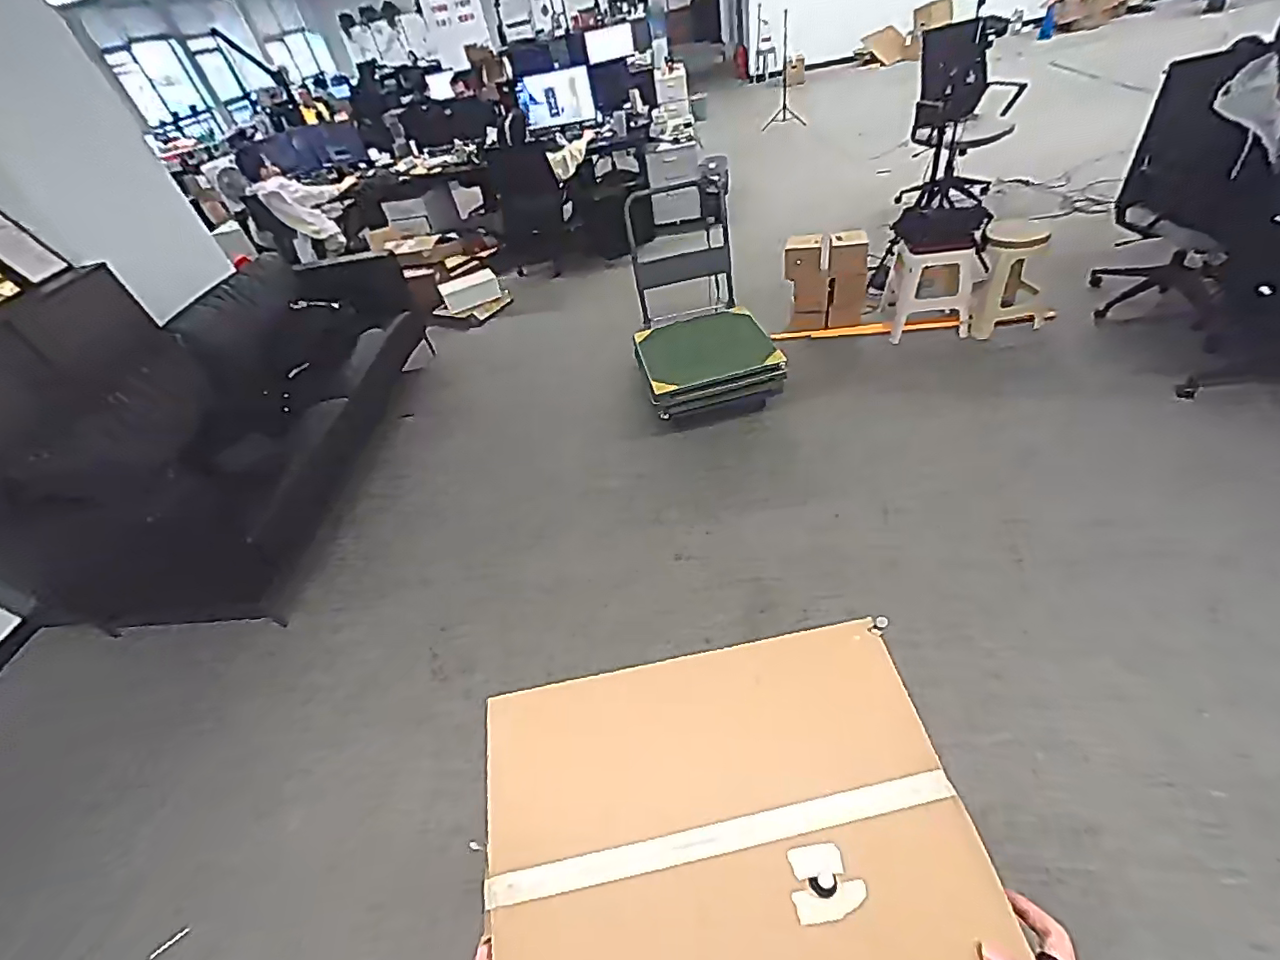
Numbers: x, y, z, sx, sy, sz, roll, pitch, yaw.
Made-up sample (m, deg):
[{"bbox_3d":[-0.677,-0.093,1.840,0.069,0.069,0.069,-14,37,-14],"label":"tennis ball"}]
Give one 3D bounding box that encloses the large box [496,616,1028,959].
[{"bbox_3d":[0.083,0.392,0.595,0.408,0.320,0.320,-11,54,-4],"label":"large box"}]
